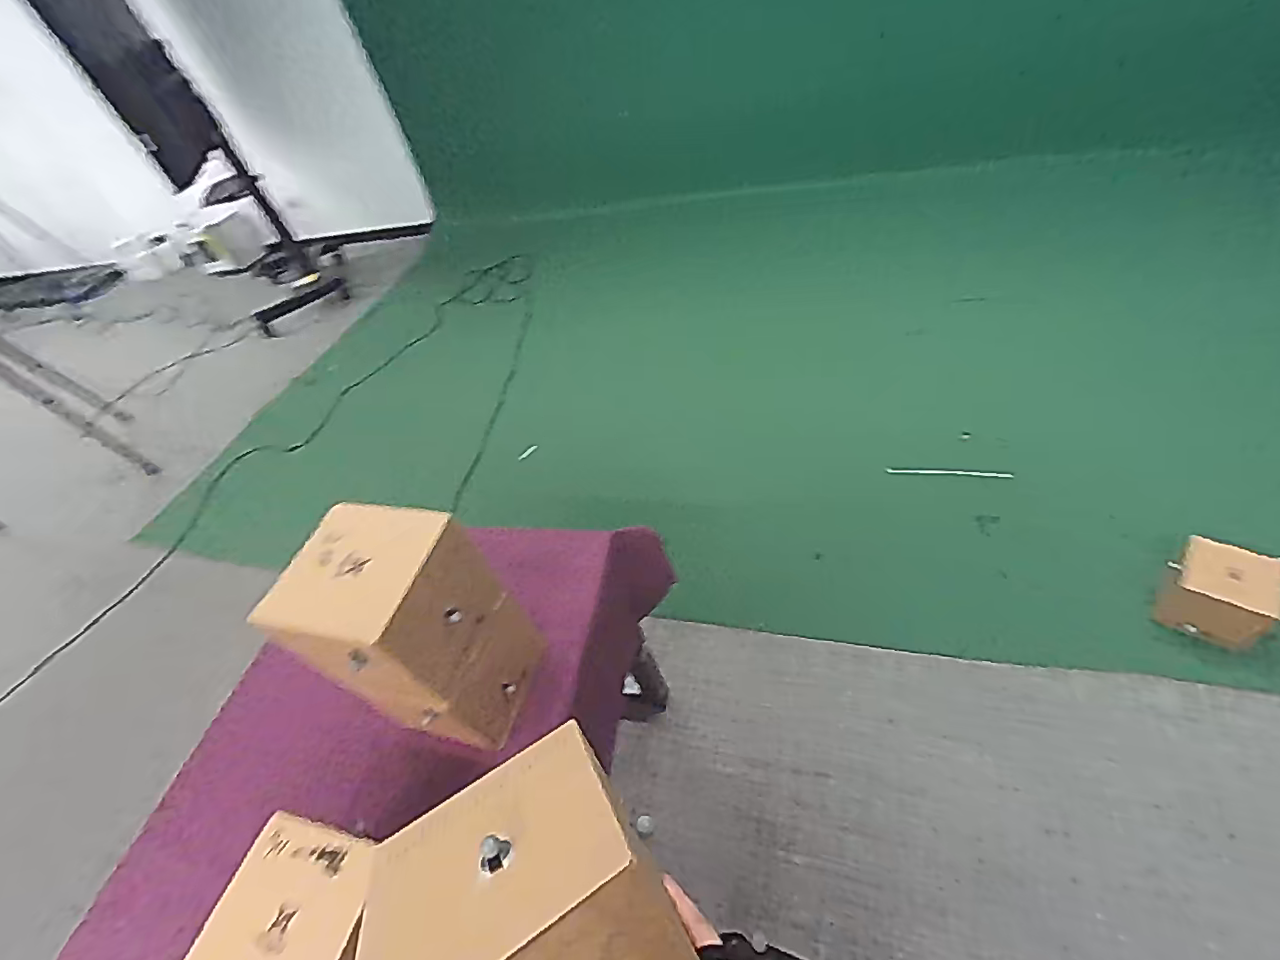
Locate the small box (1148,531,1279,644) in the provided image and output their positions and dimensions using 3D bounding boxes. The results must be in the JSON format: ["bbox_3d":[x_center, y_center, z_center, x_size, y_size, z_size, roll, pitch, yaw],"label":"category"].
[{"bbox_3d":[1.393,0.263,1.322,0.168,0.176,0.179,24,58,33],"label":"small box"}]

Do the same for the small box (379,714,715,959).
[{"bbox_3d":[-0.062,0.311,0.385,0.179,0.168,0.176,-28,13,-15],"label":"small box"}]

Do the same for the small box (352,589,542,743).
[{"bbox_3d":[-0.272,0.263,0.790,0.179,0.176,0.168,4,50,19],"label":"small box"}]

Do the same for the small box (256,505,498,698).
[{"bbox_3d":[-0.305,0.152,0.672,0.179,0.176,0.168,3,49,18],"label":"small box"}]

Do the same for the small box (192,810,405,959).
[{"bbox_3d":[-0.334,0.495,0.592,0.168,0.176,0.179,3,50,19],"label":"small box"}]
